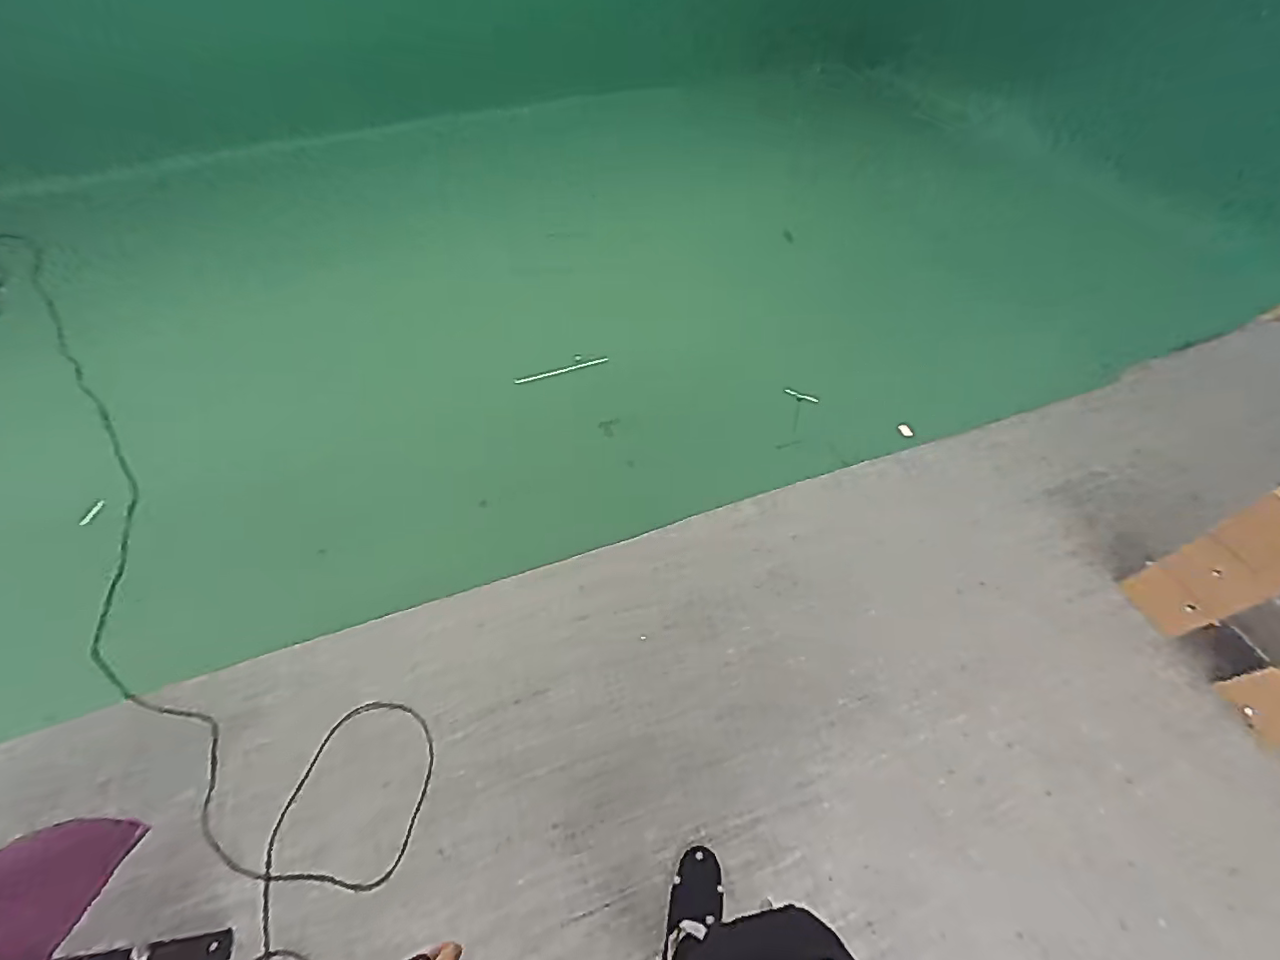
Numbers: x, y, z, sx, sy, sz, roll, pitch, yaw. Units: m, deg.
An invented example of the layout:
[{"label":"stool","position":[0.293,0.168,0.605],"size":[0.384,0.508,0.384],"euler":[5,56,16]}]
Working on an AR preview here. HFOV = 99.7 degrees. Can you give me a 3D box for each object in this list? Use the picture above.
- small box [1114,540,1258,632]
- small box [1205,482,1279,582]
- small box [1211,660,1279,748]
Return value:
[{"label":"small box","position":[1.469,0.296,1.469],"size":[0.168,0.176,0.179],"euler":[-17,56,-12]},{"label":"small box","position":[1.452,0.108,1.200],"size":[0.168,0.176,0.179],"euler":[-18,55,-12]},{"label":"small box","position":[1.570,0.531,1.302],"size":[0.179,0.176,0.168],"euler":[-10,54,-5]}]
